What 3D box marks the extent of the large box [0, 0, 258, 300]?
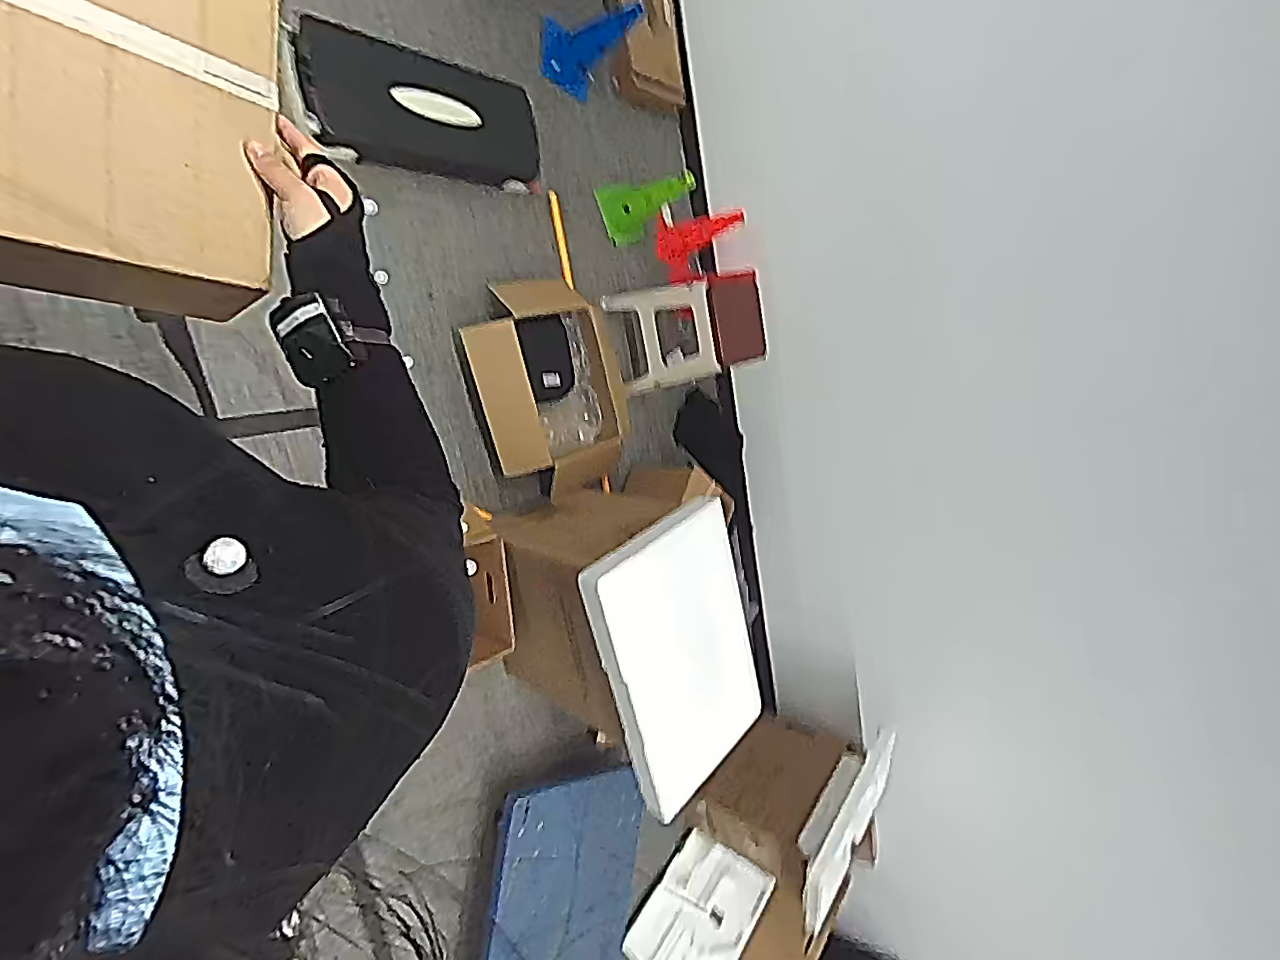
[{"bbox_3d":[-0.568,-0.345,0.426,0.408,0.320,0.320,-1,98,-44],"label":"large box"}]
